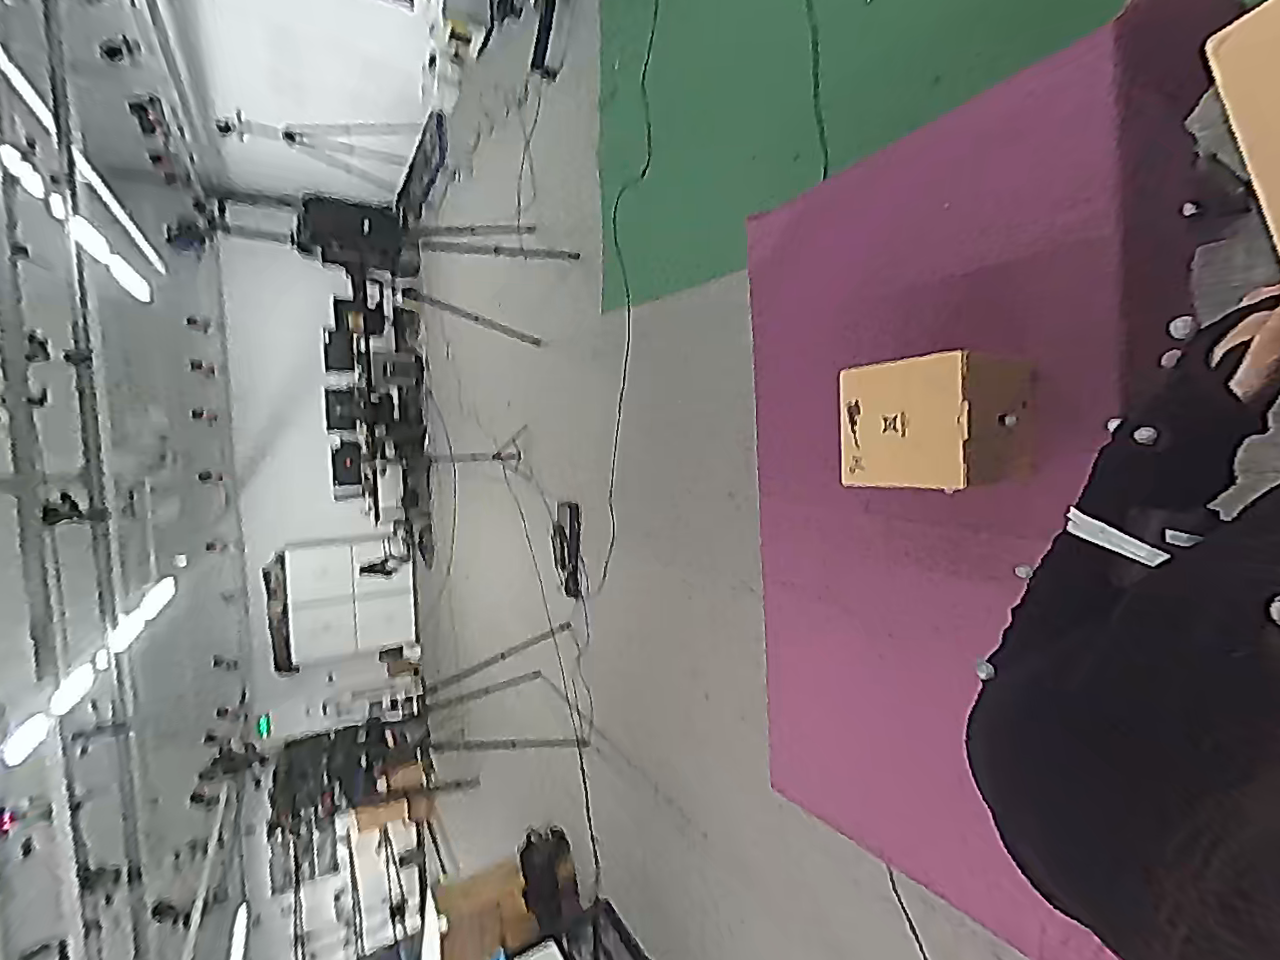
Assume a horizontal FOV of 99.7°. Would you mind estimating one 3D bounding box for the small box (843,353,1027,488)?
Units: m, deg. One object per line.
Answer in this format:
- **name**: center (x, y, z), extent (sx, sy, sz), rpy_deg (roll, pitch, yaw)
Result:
- **small box**: center (0.410, -0.080, 0.753), extent (0.179, 0.176, 0.168), rpy_deg (3, 96, 57)
